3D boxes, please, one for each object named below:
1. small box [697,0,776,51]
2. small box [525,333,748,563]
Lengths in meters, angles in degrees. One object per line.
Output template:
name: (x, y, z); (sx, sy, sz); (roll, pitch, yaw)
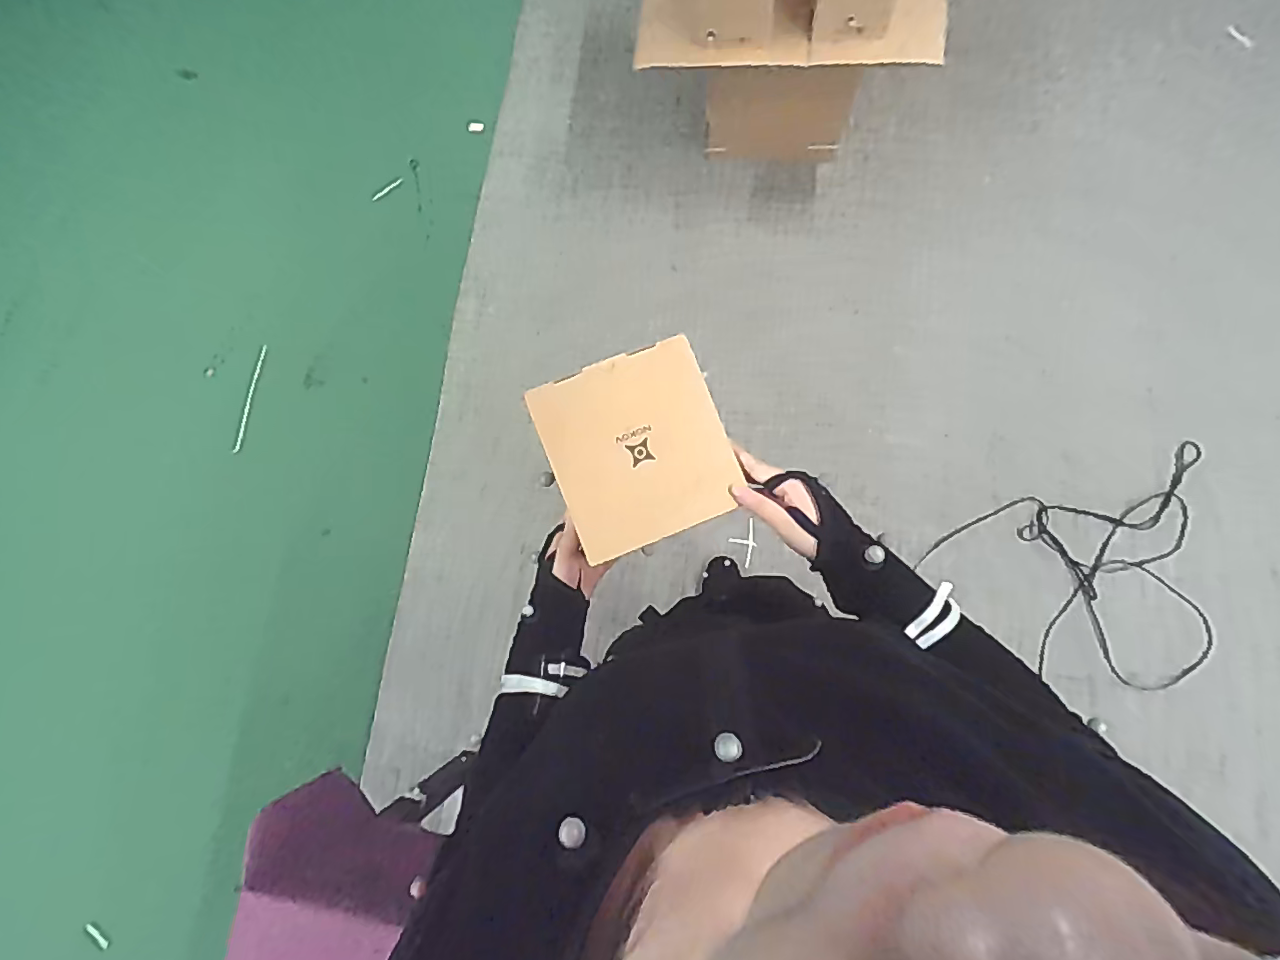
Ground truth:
small box: (0.220, -1.098, 1.199); (0.168, 0.176, 0.179); (7, 79, 9)
small box: (-0.005, -0.026, 0.579); (0.168, 0.176, 0.179); (-20, 85, -4)
